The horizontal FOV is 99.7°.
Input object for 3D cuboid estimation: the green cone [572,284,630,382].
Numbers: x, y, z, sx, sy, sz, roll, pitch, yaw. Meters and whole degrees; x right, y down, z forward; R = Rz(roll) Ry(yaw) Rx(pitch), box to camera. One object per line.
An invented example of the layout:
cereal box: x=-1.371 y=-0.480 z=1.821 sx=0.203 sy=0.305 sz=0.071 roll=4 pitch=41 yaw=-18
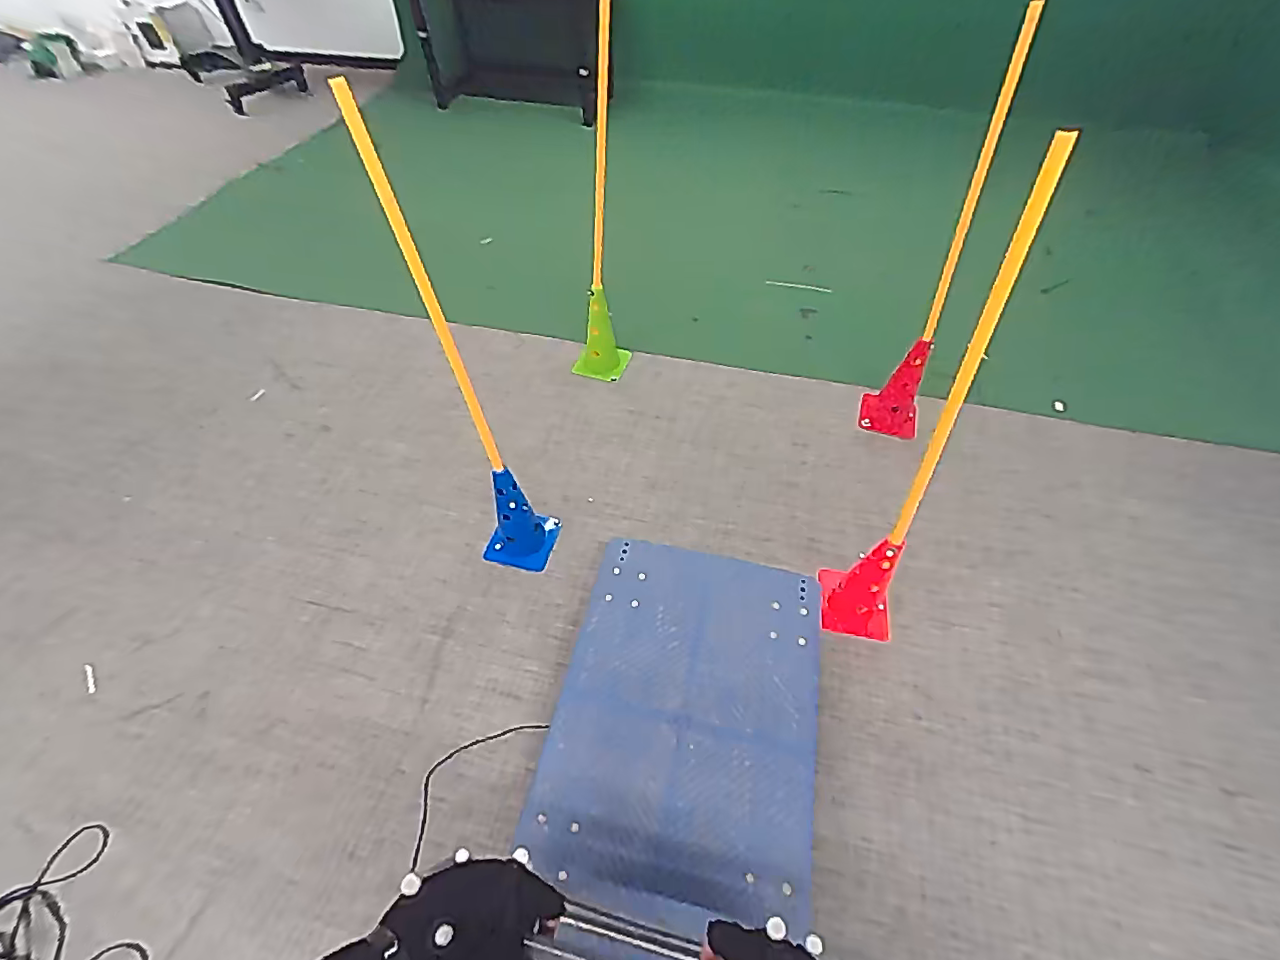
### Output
green cone: x=-0.161 y=-0.591 z=2.107 sx=0.202 sy=0.368 sz=0.200 roll=14 pitch=53 yaw=12

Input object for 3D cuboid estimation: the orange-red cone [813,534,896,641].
orange-red cone: x=0.605 y=0.259 z=1.450 sx=0.199 sy=0.360 sz=0.198 roll=10 pitch=52 yaw=10
